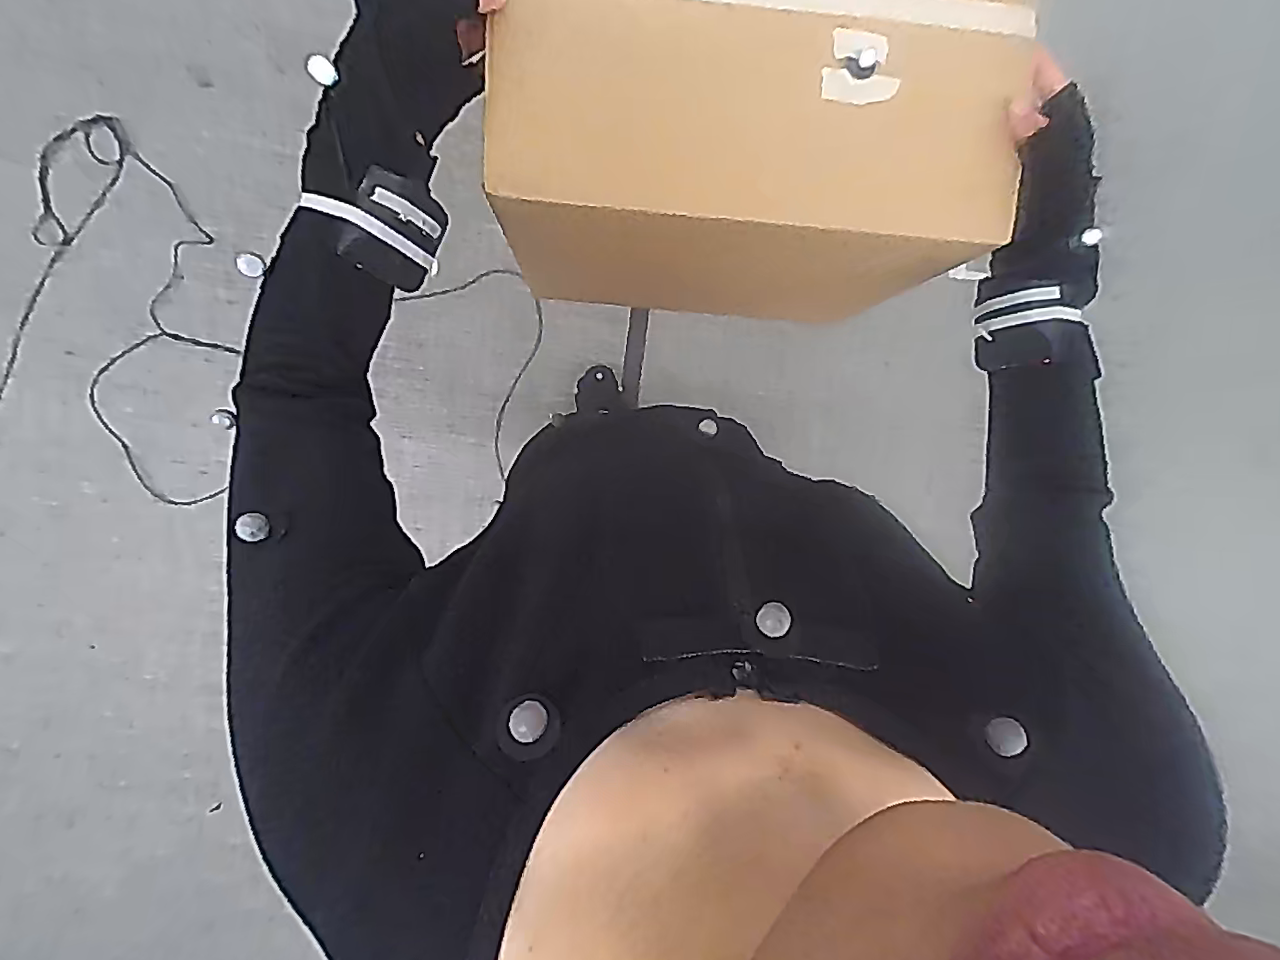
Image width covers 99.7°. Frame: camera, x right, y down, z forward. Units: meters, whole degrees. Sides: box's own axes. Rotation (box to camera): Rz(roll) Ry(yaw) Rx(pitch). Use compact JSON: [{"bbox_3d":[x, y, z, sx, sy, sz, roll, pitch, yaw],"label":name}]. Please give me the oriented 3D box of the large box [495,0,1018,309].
[{"bbox_3d":[0.080,-0.375,0.552,0.408,0.320,0.320,3,95,-6],"label":"large box"}]
